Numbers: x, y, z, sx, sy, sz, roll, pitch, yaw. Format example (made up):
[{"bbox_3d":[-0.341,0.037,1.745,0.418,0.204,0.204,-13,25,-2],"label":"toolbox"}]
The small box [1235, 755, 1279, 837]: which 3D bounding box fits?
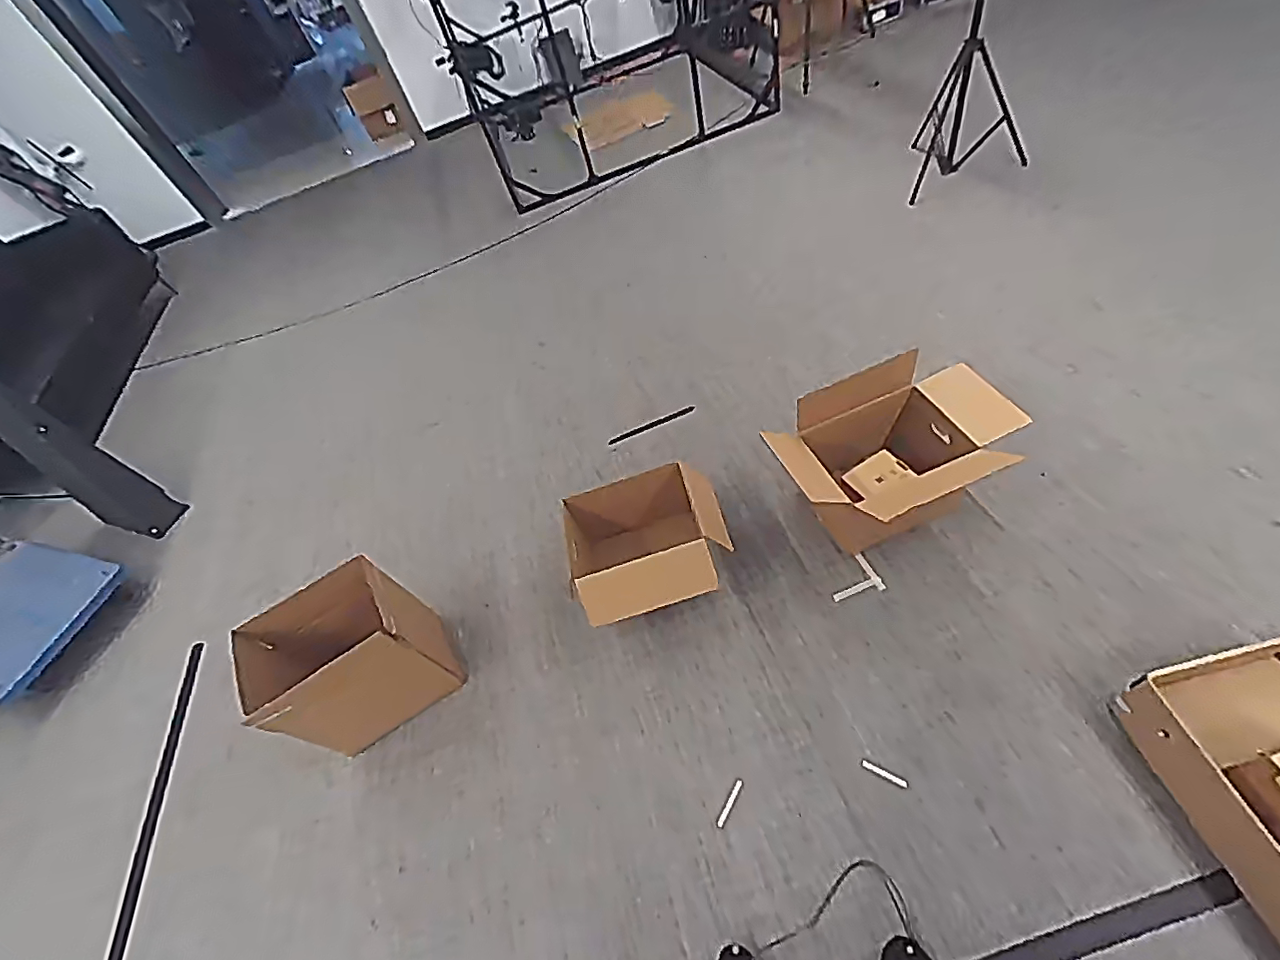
[{"bbox_3d":[1.342,0.623,1.054,0.179,0.176,0.168,-21,51,0],"label":"small box"}]
